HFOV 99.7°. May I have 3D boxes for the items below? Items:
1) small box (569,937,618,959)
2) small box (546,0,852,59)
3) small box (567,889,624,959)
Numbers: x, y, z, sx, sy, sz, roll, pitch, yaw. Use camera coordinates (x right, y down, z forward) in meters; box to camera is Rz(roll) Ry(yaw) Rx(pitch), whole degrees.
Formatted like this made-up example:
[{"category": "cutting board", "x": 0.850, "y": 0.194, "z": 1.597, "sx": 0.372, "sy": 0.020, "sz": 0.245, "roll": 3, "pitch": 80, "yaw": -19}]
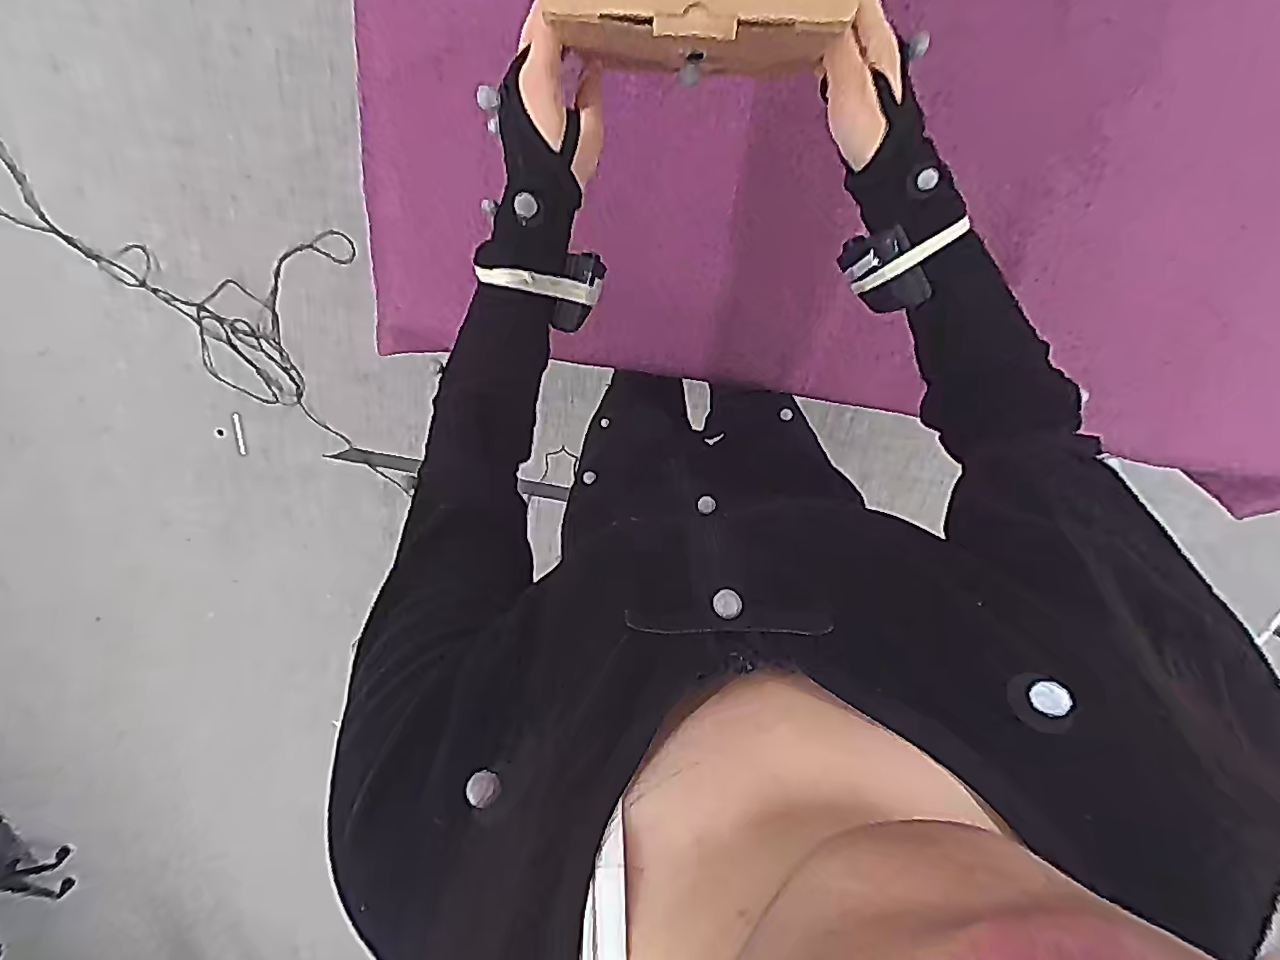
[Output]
[{"category": "small box", "x": -0.172, "y": 1.712, "z": 1.841, "sx": 0.168, "sy": 0.176, "sz": 0.179, "roll": 10, "pitch": 115, "yaw": 2}, {"category": "small box", "x": 0.041, "y": -0.361, "z": 0.307, "sx": 0.168, "sy": 0.176, "sz": 0.179, "roll": 5, "pitch": 121, "yaw": 3}, {"category": "small box", "x": -0.160, "y": 1.648, "z": 1.990, "sx": 0.179, "sy": 0.176, "sz": 0.168, "roll": 9, "pitch": 115, "yaw": 3}]
